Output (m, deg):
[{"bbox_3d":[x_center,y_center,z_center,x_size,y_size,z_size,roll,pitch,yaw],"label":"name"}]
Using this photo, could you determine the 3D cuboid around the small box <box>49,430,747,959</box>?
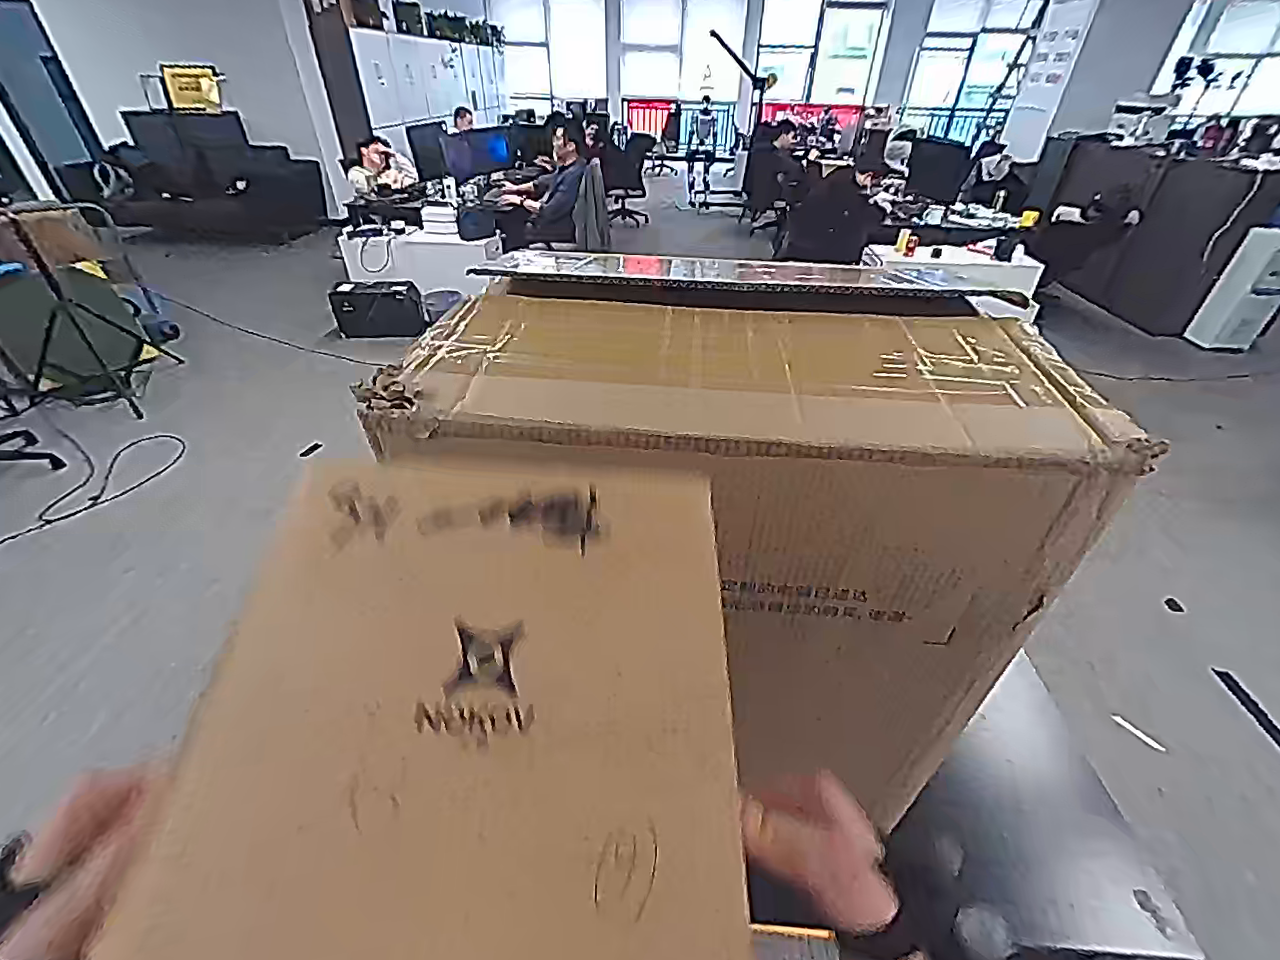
[{"bbox_3d":[-0.059,0.101,0.231,0.168,0.176,0.179,3,57,-4],"label":"small box"}]
